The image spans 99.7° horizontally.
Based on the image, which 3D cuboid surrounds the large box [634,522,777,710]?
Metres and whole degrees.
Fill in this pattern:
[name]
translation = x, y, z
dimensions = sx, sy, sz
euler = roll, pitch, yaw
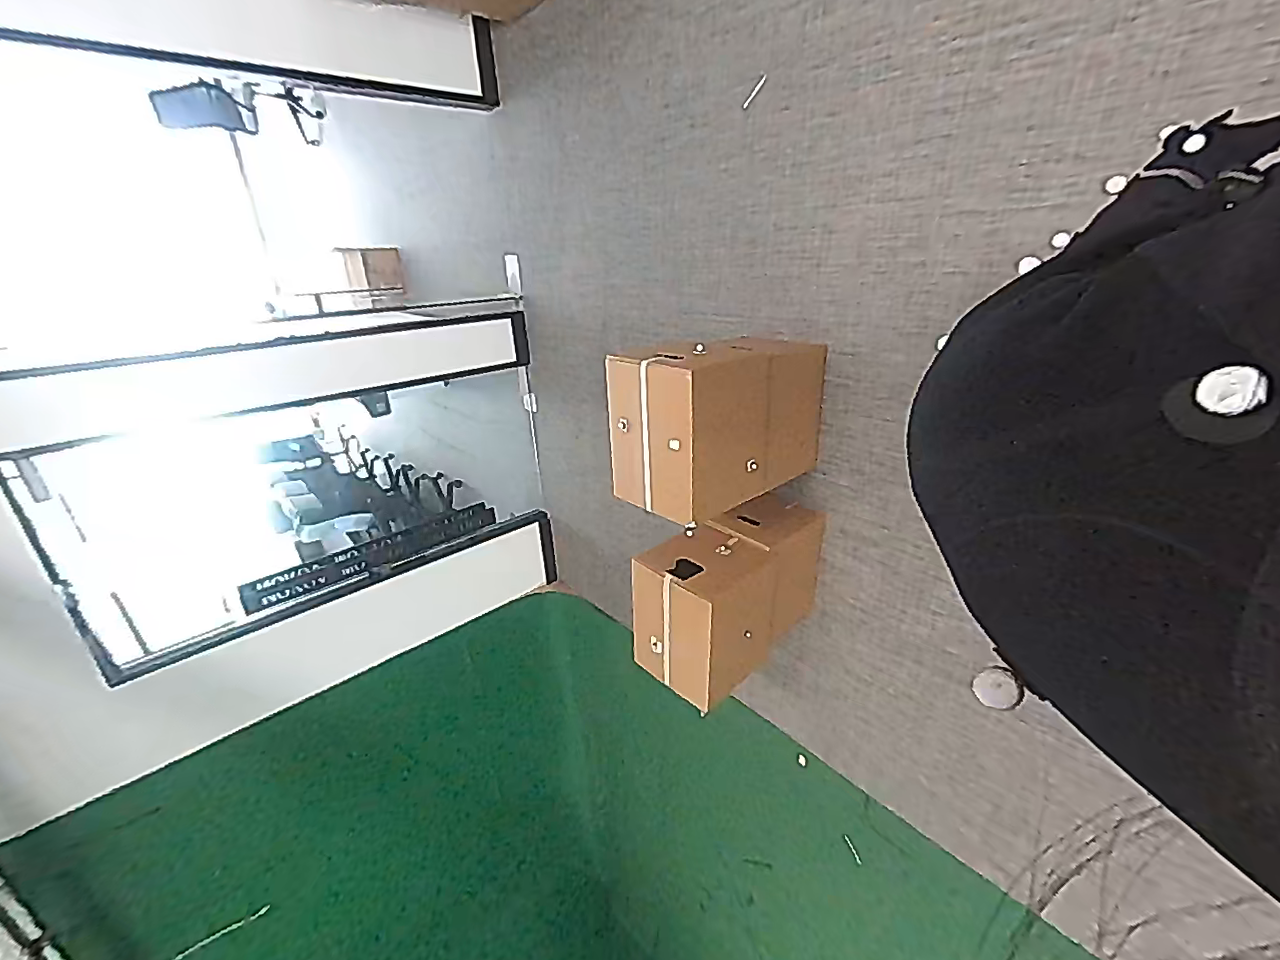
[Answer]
[large box]
translation = 0.203, 0.398, 1.673
dimensions = 0.320, 0.320, 0.408
euler = 23, 125, 42
